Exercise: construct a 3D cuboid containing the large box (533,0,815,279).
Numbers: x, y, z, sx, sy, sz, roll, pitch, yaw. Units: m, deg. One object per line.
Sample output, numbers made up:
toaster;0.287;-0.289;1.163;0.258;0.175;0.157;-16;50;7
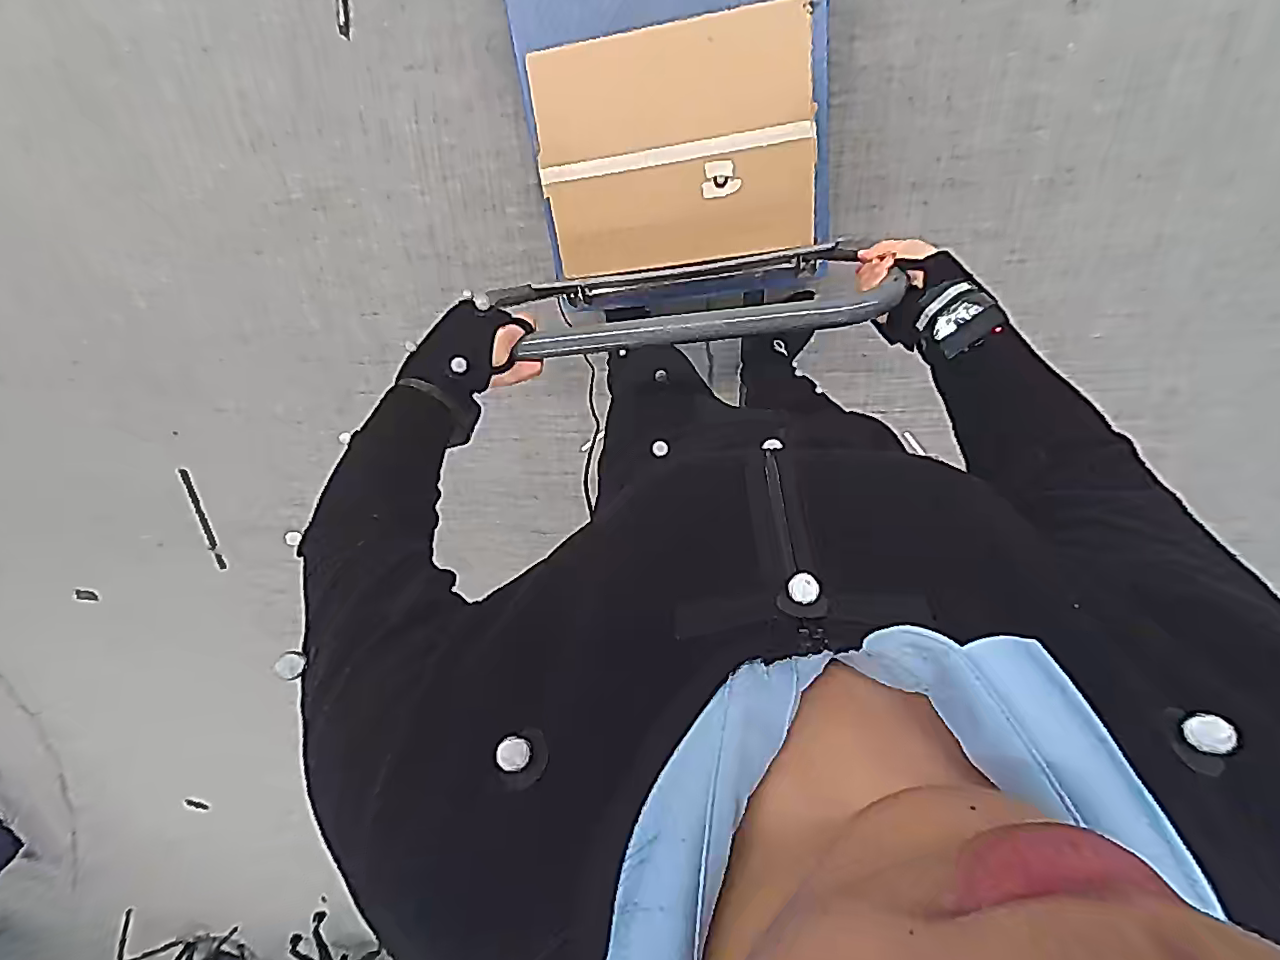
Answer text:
large box;0.072;-0.554;0.953;0.408;0.320;0.320;-4;115;9
